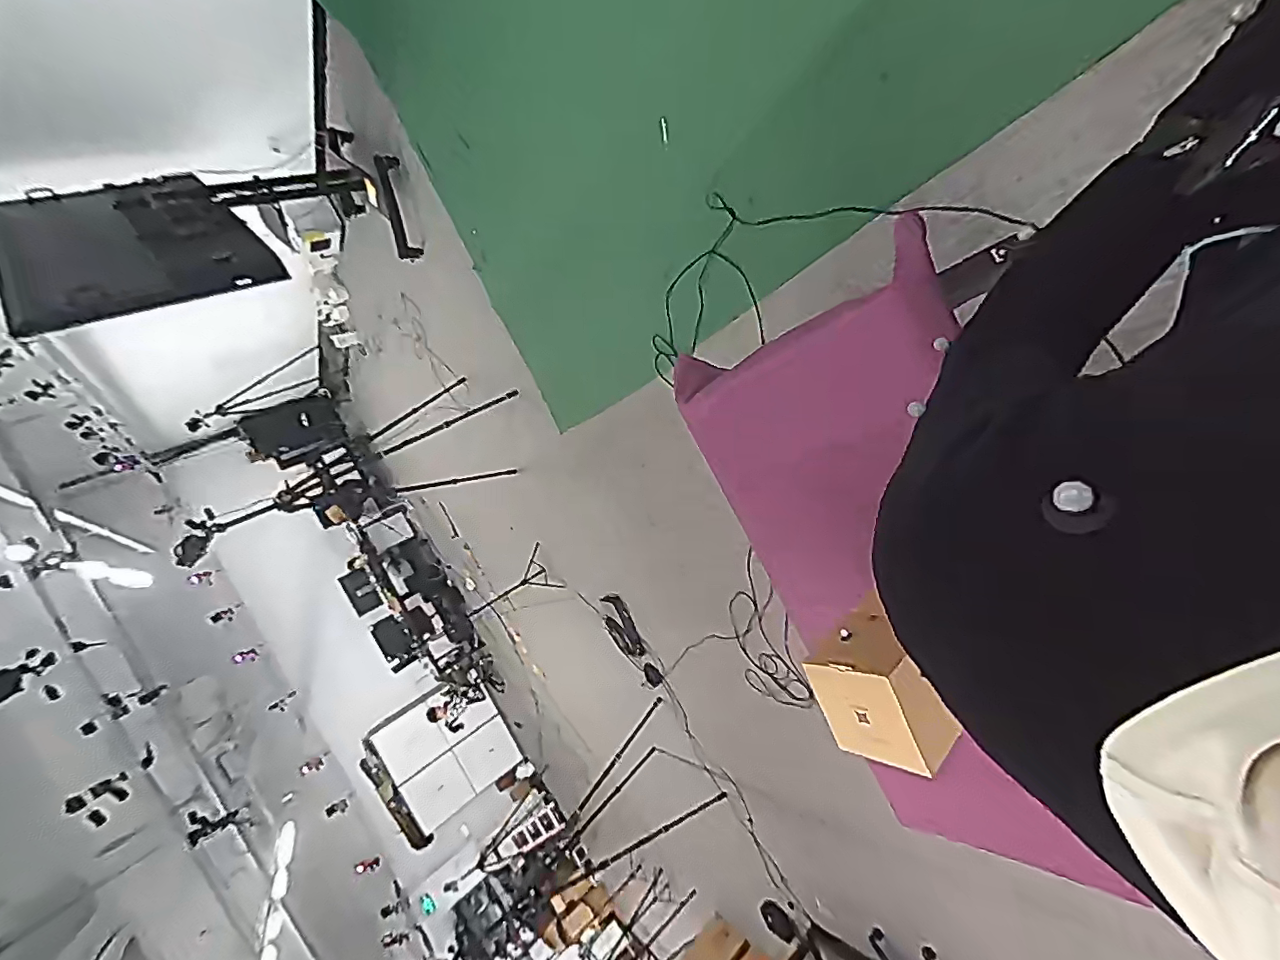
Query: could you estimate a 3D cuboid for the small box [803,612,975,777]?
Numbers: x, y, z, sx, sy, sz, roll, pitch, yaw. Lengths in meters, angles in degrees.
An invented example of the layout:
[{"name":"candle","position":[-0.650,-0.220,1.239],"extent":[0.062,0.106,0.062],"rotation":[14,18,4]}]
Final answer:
[{"name":"small box","position":[0.407,0.332,0.882],"extent":[0.168,0.176,0.179],"rotation":[-16,101,57]}]
